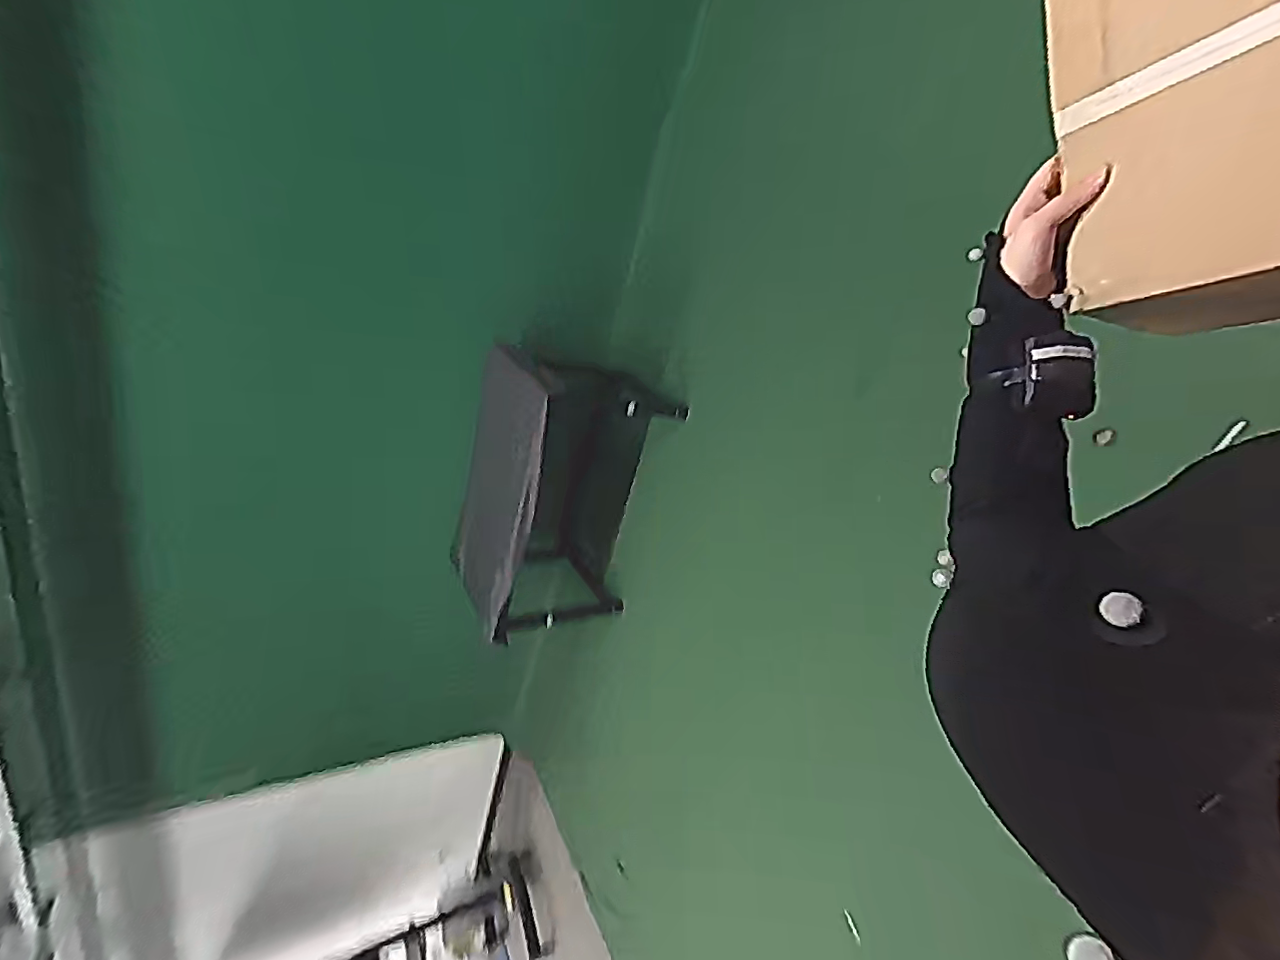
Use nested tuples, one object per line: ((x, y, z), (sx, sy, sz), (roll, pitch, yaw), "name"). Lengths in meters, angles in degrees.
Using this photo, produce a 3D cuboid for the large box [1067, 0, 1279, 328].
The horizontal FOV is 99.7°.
((0.608, -0.317, 0.380), (0.408, 0.320, 0.320), (-2, 92, 56), "large box")
